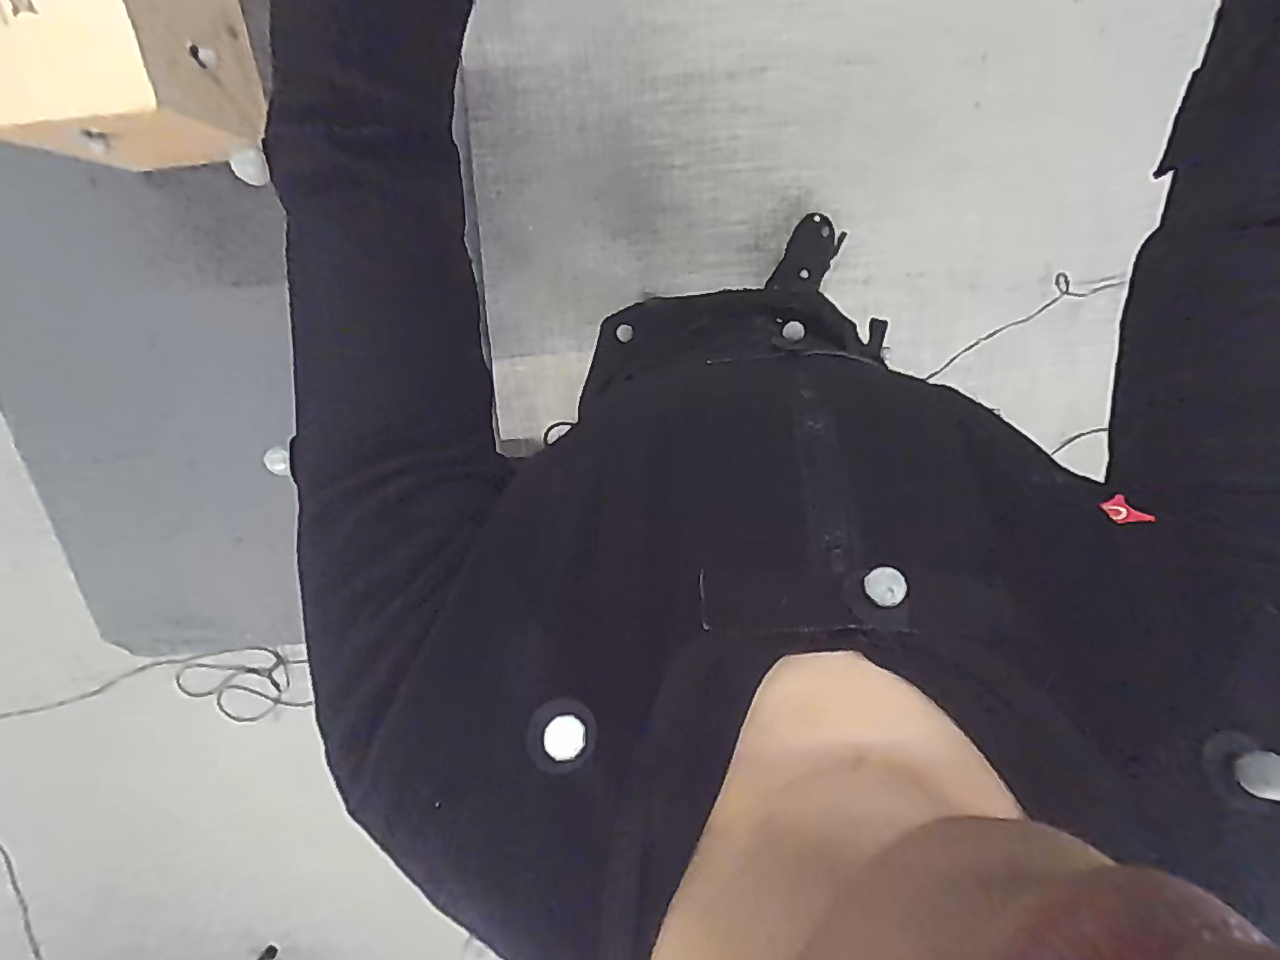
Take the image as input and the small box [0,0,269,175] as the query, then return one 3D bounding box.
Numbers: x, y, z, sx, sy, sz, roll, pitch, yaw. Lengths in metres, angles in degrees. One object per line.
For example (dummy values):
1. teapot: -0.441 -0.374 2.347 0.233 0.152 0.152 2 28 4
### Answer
1. small box: -0.488 -0.397 0.502 0.179 0.176 0.168 -5 109 3
